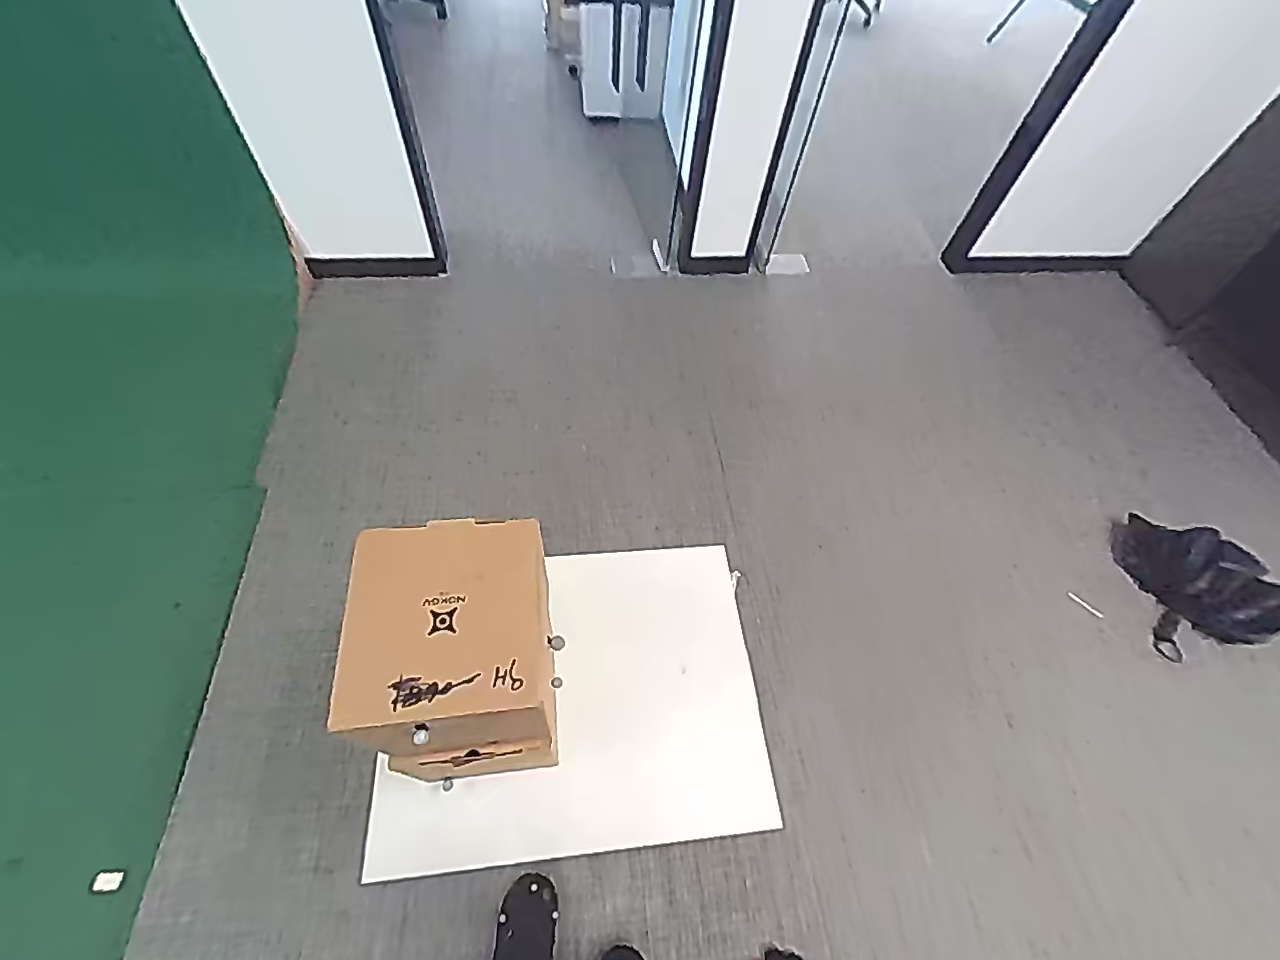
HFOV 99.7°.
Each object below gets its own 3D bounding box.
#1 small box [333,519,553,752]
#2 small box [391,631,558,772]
[{"bbox_3d":[-0.177,0.159,0.545,0.168,0.176,0.179,-4,57,-7],"label":"small box"},{"bbox_3d":[-0.192,0.257,0.675,0.168,0.176,0.179,-4,57,-8],"label":"small box"}]
